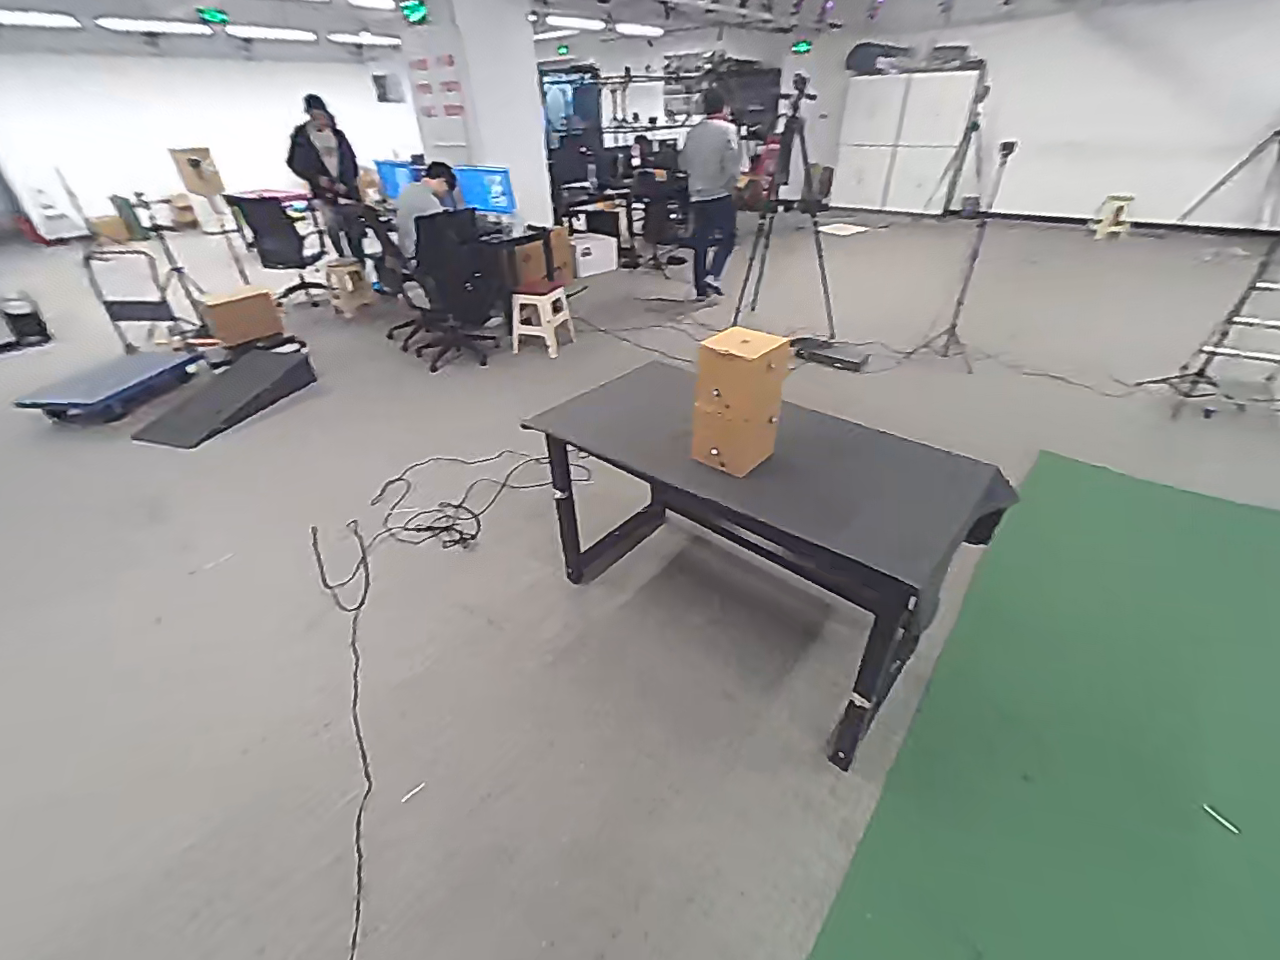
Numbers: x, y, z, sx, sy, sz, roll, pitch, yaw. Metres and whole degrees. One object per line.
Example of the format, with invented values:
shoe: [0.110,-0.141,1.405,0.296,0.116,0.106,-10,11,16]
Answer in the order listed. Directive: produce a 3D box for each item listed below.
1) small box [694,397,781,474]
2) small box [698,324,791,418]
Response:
small box: [0.259,-0.144,1.477,0.168,0.176,0.179,25,42,34]
small box: [0.262,-0.281,1.390,0.168,0.176,0.179,26,43,33]
